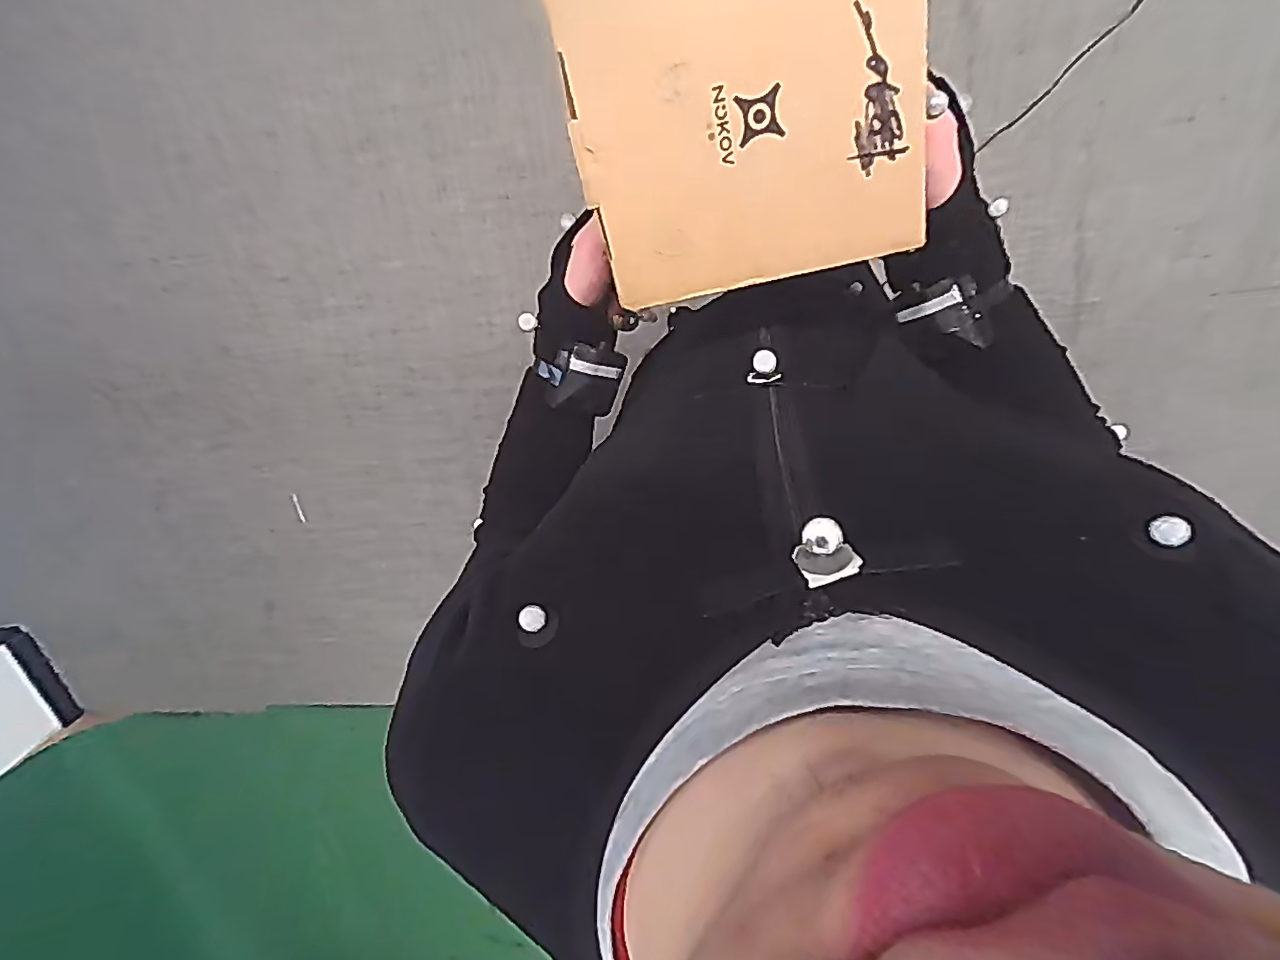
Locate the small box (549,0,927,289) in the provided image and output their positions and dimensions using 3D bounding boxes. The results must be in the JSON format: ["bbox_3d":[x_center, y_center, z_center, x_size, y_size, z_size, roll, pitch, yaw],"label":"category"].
[{"bbox_3d":[0.066,-0.235,0.343,0.179,0.176,0.168,-6,120,15],"label":"small box"}]
